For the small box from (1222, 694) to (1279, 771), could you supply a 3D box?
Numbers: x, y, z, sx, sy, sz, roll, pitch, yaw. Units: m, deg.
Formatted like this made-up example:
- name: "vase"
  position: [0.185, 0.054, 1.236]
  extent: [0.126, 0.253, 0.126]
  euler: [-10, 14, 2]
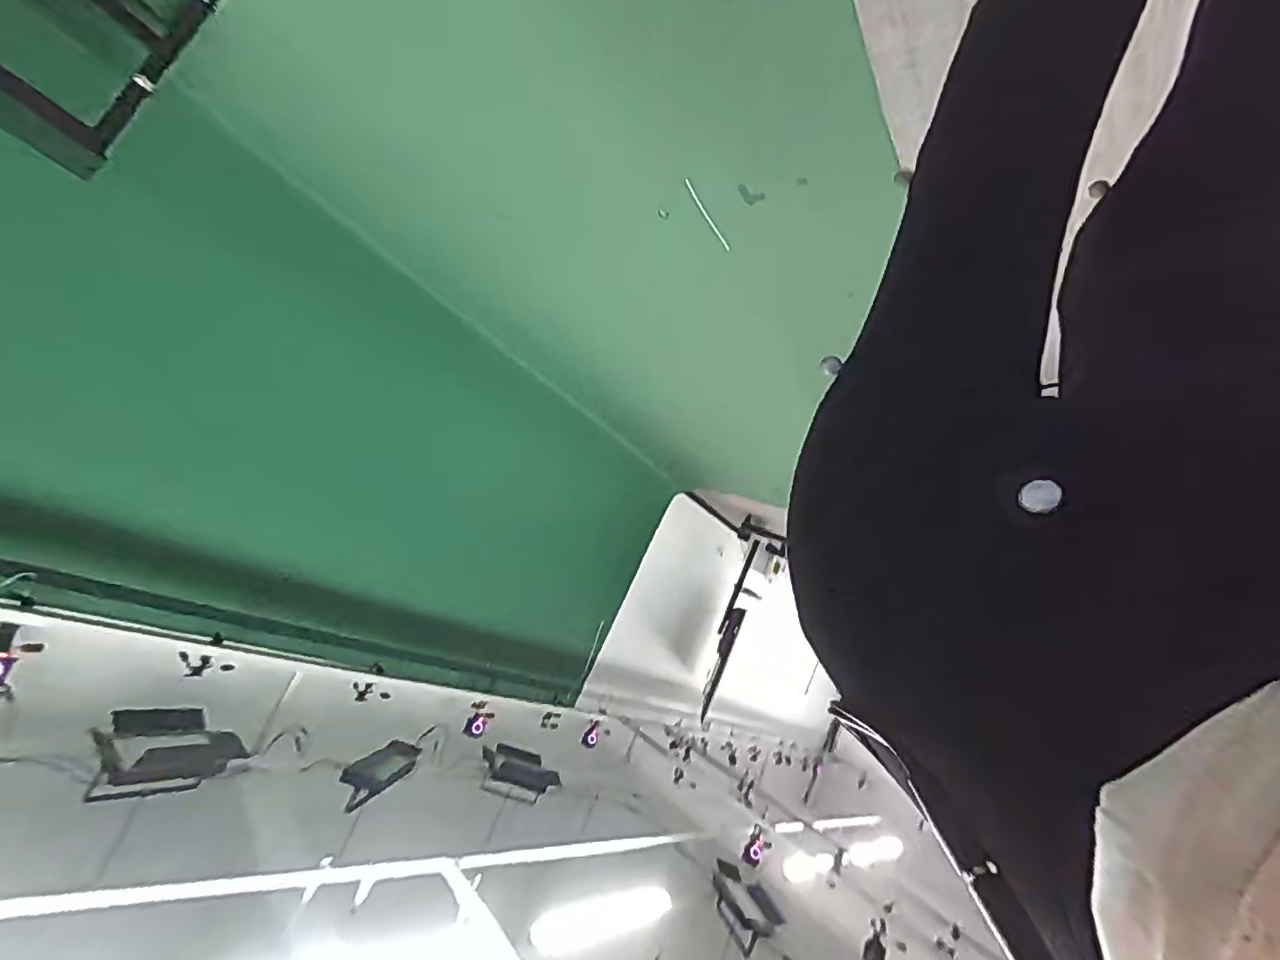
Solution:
- name: "small box"
  position: [1.888, 0.763, 1.619]
  extent: [0.168, 0.176, 0.179]
  euler: [15, 165, 48]
